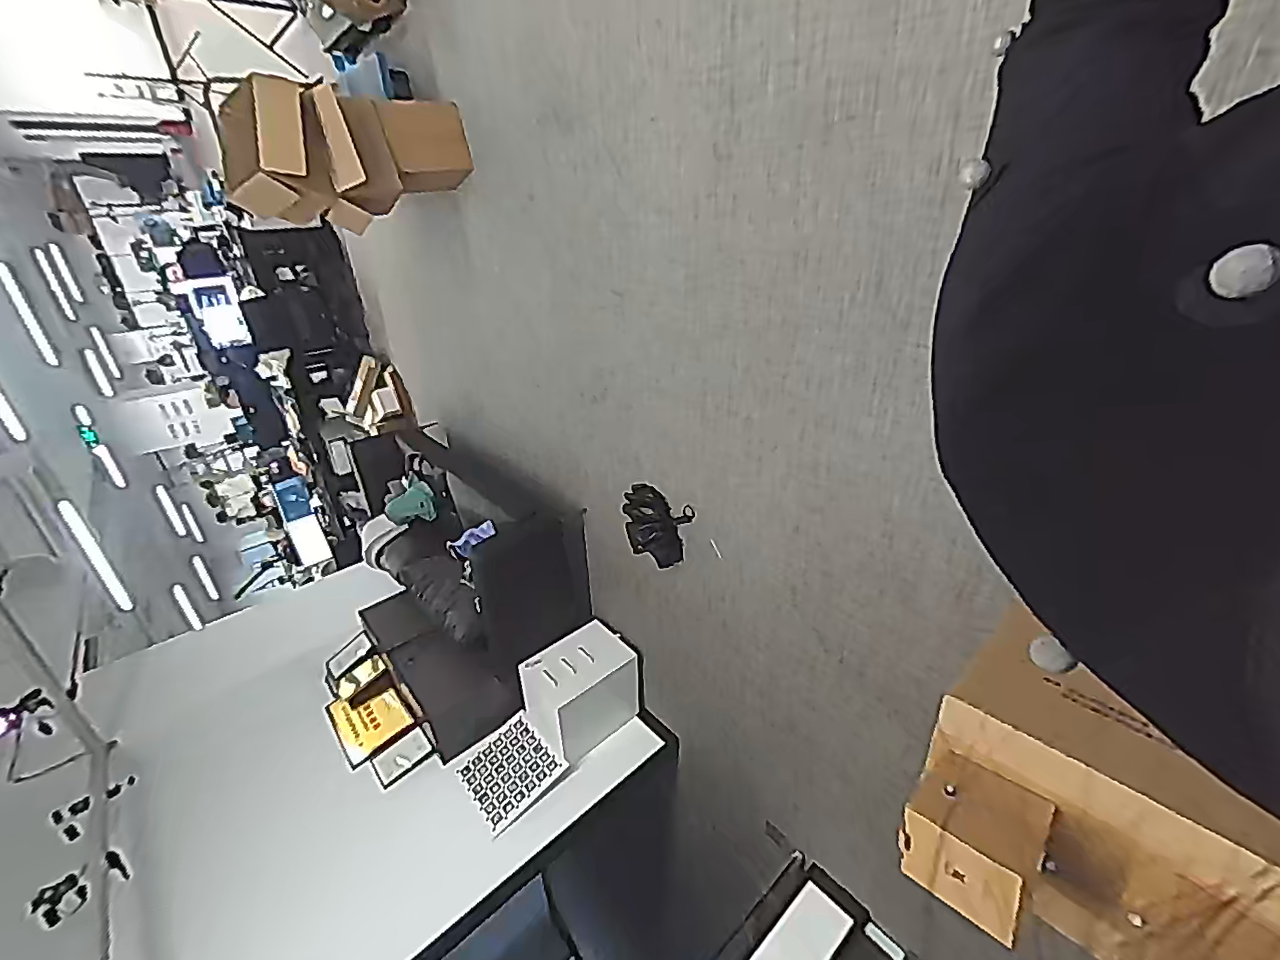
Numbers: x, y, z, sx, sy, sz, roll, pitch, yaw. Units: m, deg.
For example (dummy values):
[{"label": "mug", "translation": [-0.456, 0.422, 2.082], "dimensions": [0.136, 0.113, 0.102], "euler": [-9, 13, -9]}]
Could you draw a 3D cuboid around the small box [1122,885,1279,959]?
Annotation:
[{"label": "small box", "translation": [0.774, 0.704, 0.717], "dimensions": [0.179, 0.176, 0.168], "euler": [28, 127, 43]}]

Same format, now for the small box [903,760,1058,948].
[{"label": "small box", "translation": [0.581, 0.622, 0.931], "dimensions": [0.179, 0.176, 0.168], "euler": [14, 119, 48]}]
